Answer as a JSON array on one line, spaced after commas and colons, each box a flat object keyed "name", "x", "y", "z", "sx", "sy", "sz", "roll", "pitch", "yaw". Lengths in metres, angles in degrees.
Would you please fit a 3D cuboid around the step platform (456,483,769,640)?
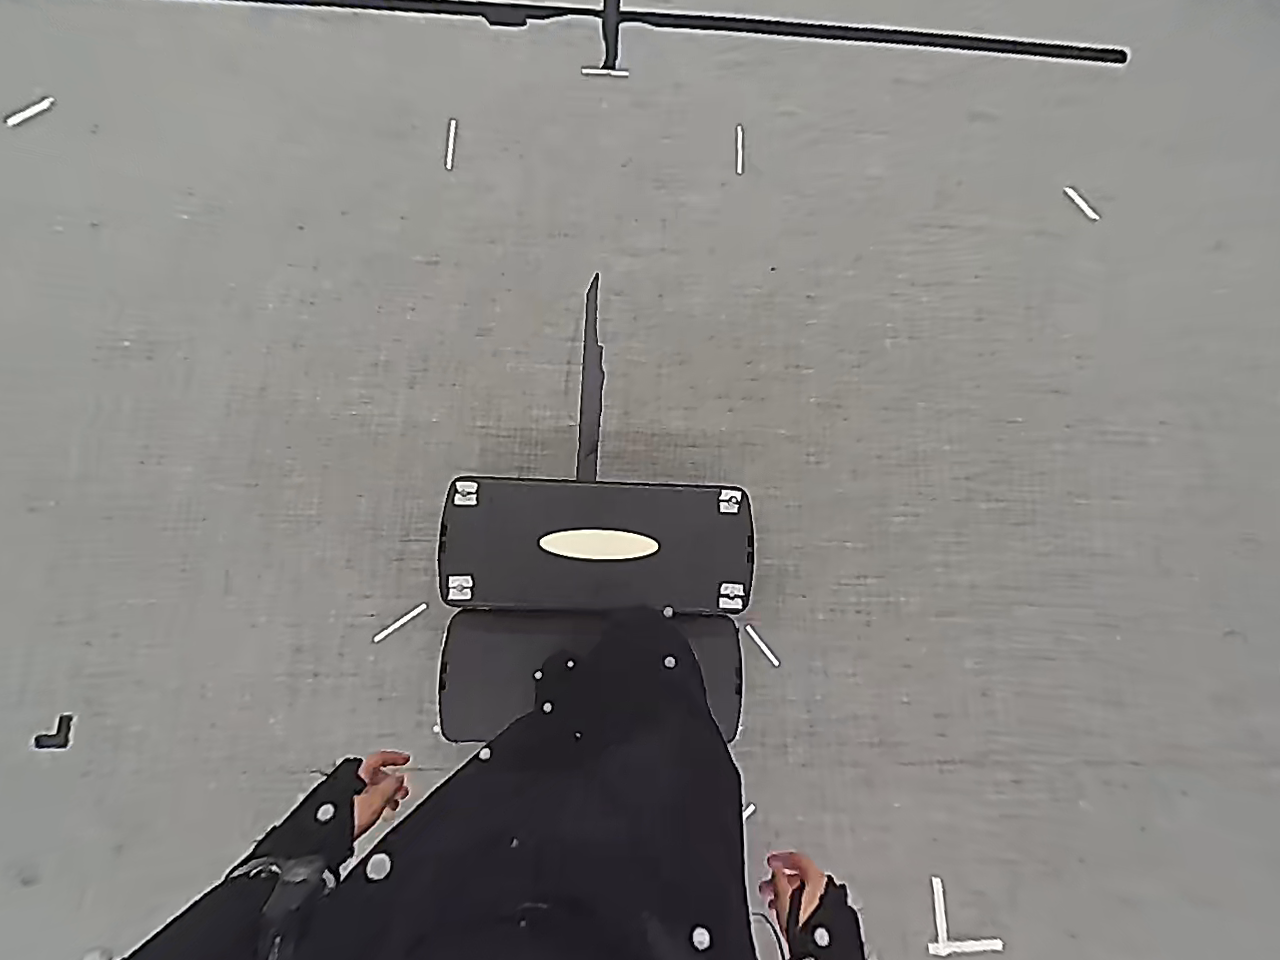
[{"name": "step platform", "x": -0.056, "y": 0.186, "z": 1.227, "sx": 0.684, "sy": 0.204, "sz": 0.286, "roll": 7, "pitch": 78, "yaw": -3}]
